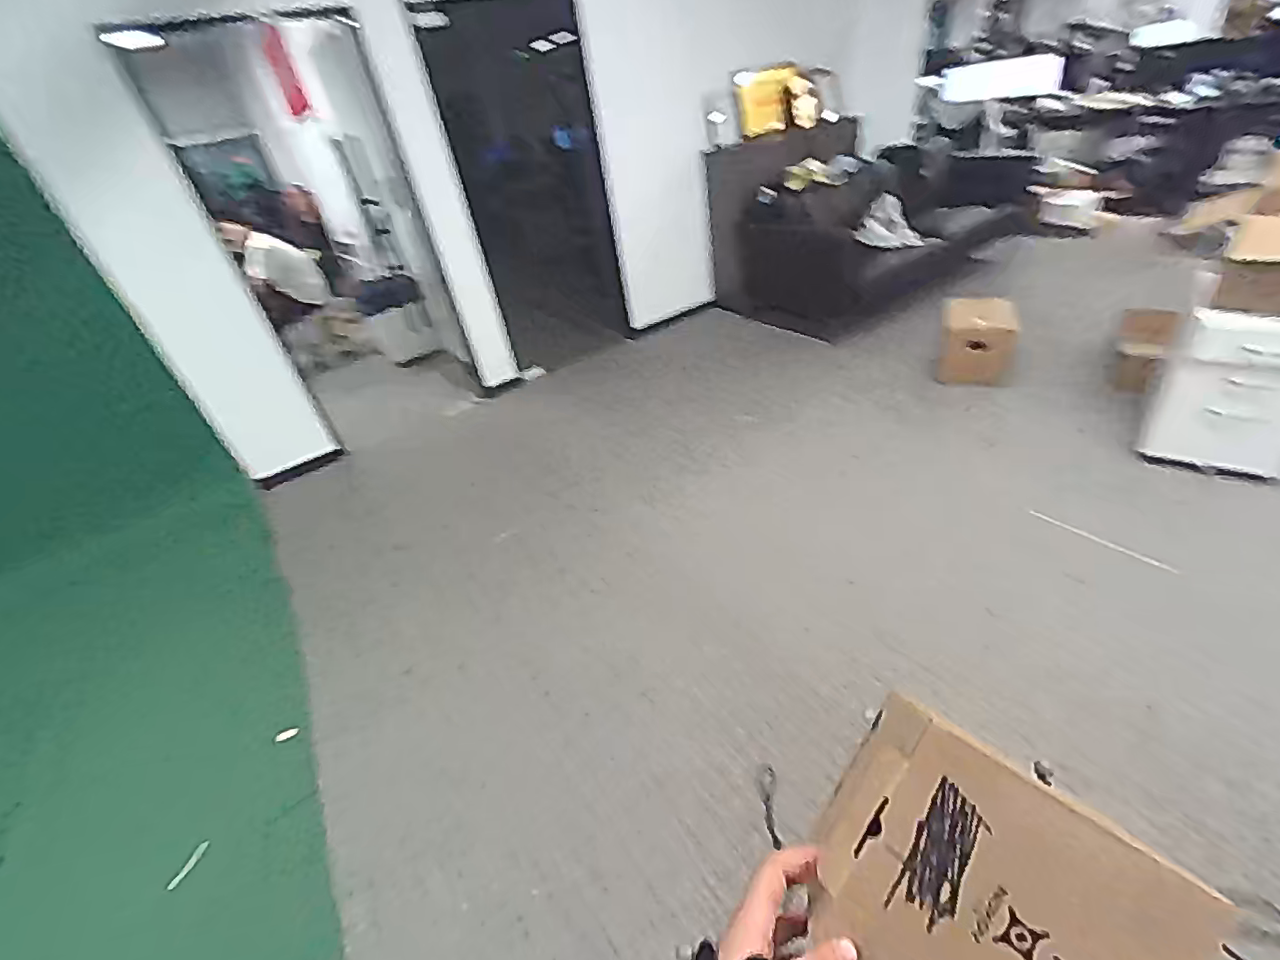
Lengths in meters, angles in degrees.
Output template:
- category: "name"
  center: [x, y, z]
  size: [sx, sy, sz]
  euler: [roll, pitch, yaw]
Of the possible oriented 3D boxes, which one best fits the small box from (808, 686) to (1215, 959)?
- category: "small box"
  center: [0.240, 0.274, 0.407]
  size: [0.179, 0.176, 0.168]
  euler: [28, 85, 20]
